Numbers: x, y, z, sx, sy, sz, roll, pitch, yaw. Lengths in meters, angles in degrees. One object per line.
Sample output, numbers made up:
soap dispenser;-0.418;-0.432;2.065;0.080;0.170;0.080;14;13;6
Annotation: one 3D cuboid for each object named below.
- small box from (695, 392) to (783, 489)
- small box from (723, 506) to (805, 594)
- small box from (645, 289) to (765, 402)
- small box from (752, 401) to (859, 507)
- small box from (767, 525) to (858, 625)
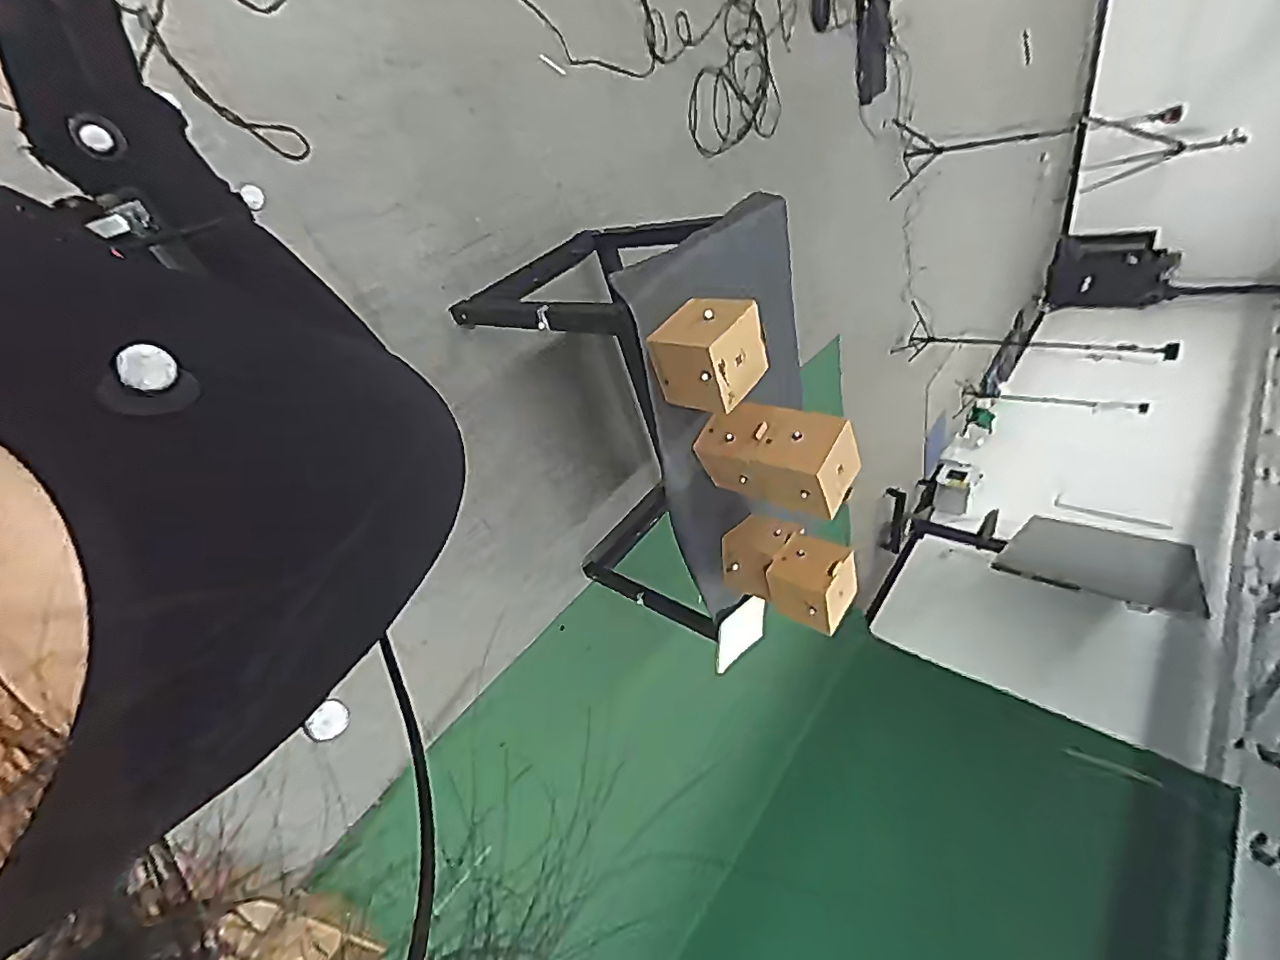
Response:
small box;0.263;-0.106;1.354;0.168;0.176;0.179;-56;137;-17
small box;0.356;0.192;1.558;0.179;0.176;0.168;-29;123;-39
small box;0.140;-0.292;1.149;0.179;0.176;0.168;-48;134;-26
small box;0.380;-0.066;1.246;0.168;0.176;0.179;-55;136;-19
small box;0.460;0.246;1.441;0.168;0.176;0.179;-45;131;-29
